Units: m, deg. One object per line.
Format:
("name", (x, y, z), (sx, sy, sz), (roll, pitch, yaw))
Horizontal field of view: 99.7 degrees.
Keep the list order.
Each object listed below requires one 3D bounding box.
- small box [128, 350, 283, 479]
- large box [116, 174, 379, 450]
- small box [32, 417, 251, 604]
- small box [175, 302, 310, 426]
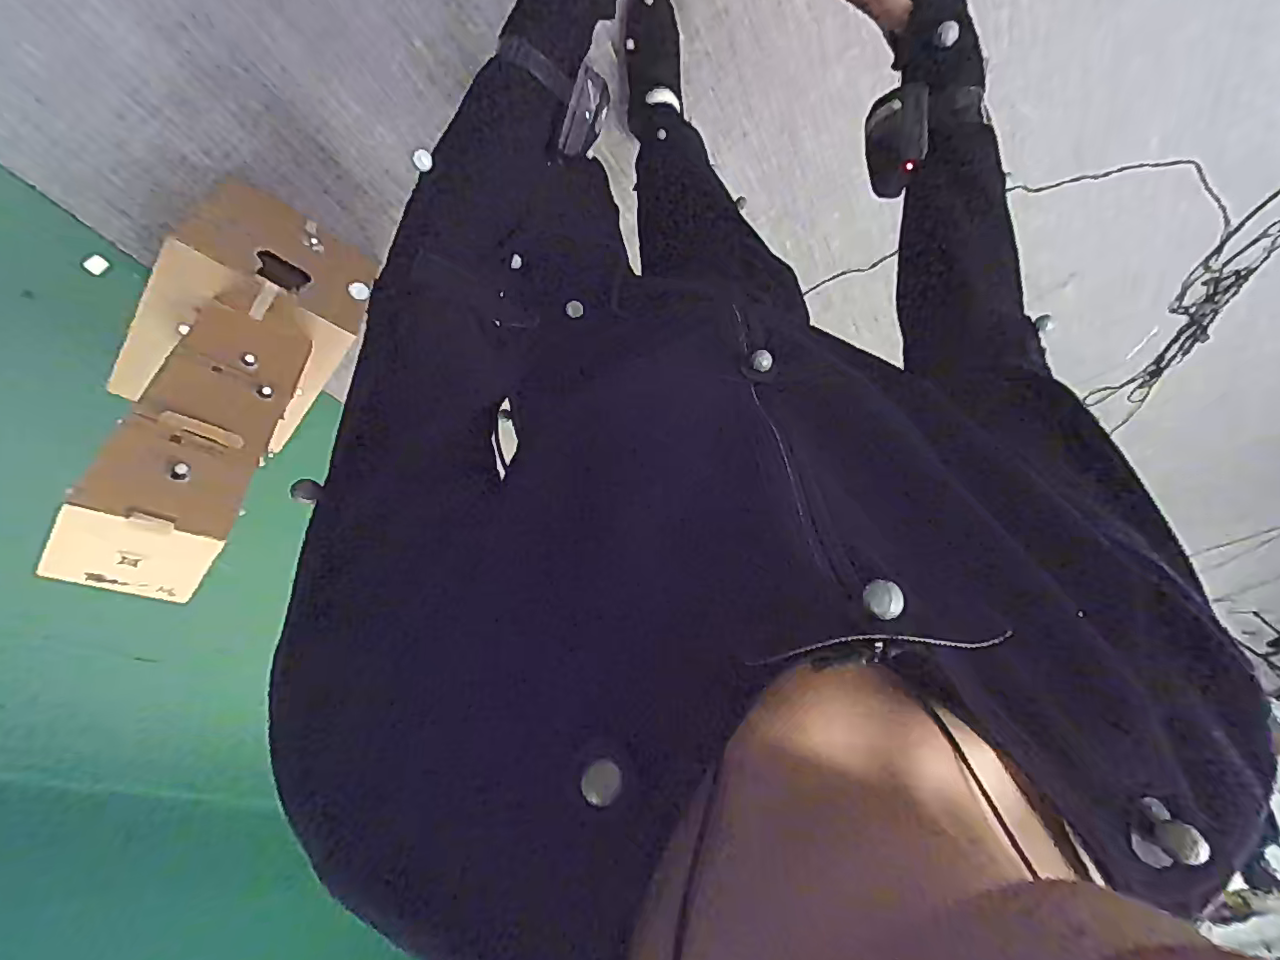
("small box", (-0.712, -0.075, 0.877), (0.168, 0.176, 0.179), (28, 124, -36))
("large box", (-0.820, -0.346, 1.165), (0.320, 0.320, 0.408), (30, 124, -35))
("small box", (-0.687, 0.043, 0.765), (0.168, 0.176, 0.179), (29, 121, -37))
("small box", (-0.740, -0.190, 0.990), (0.168, 0.176, 0.179), (-40, 131, 25))
